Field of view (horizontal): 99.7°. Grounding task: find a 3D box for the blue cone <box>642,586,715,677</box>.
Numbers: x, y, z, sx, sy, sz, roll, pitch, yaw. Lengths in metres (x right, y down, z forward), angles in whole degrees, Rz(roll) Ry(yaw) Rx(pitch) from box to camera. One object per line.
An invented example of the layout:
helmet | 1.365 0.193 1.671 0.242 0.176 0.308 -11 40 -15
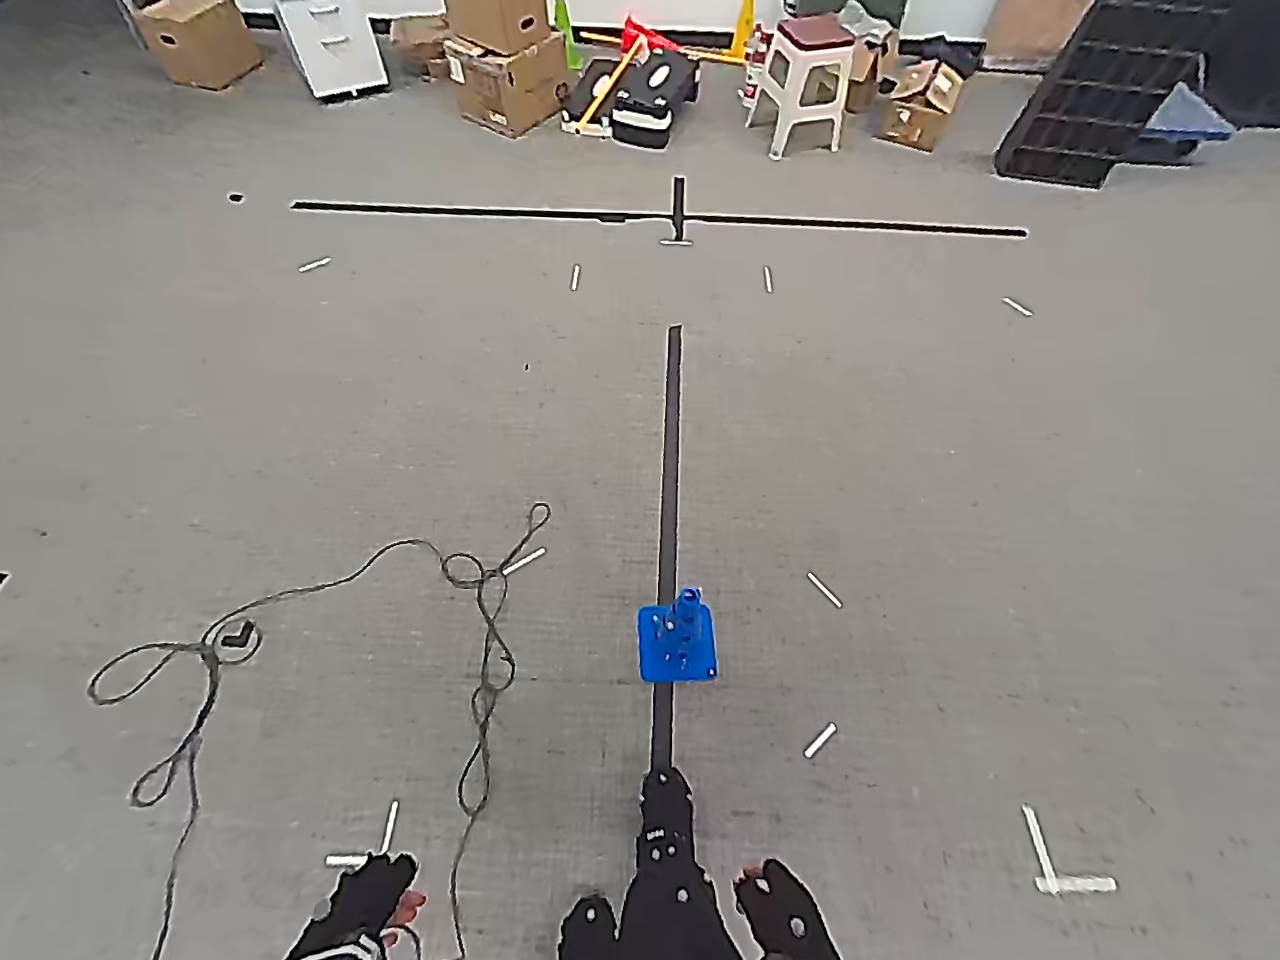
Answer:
blue cone | 0.107 0.339 1.301 0.192 0.380 0.193 1 58 -2
